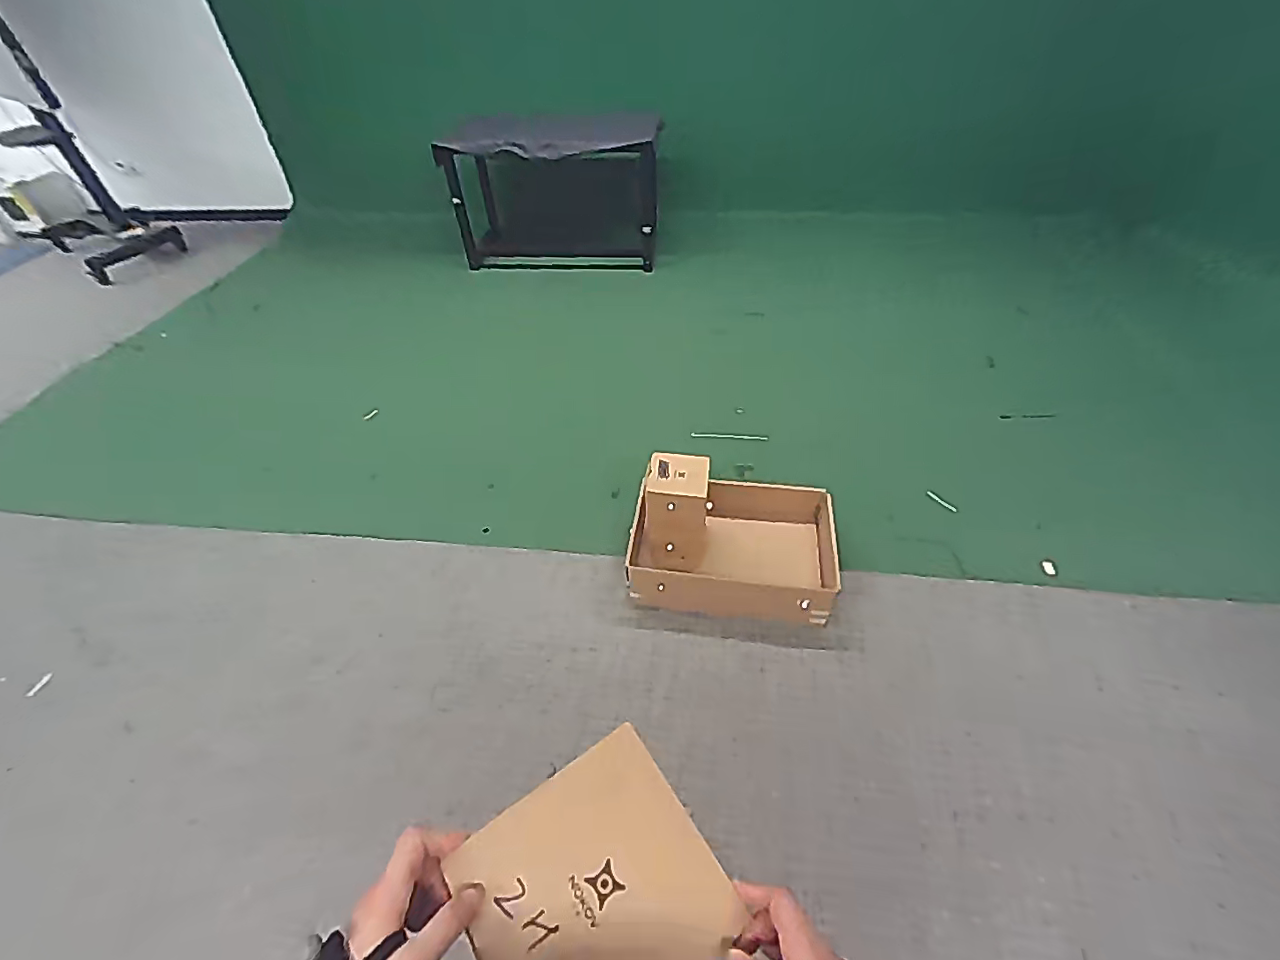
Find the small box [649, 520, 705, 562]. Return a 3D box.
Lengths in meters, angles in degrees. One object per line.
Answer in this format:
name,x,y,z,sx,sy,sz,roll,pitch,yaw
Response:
small box,0.124,0.147,1.745,0.168,0.176,0.179,4,47,7

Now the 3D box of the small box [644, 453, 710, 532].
small box,0.112,0.039,1.621,0.179,0.176,0.168,5,47,7

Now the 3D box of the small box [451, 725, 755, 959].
small box,-0.034,0.348,0.471,0.179,0.176,0.168,-30,63,-20
